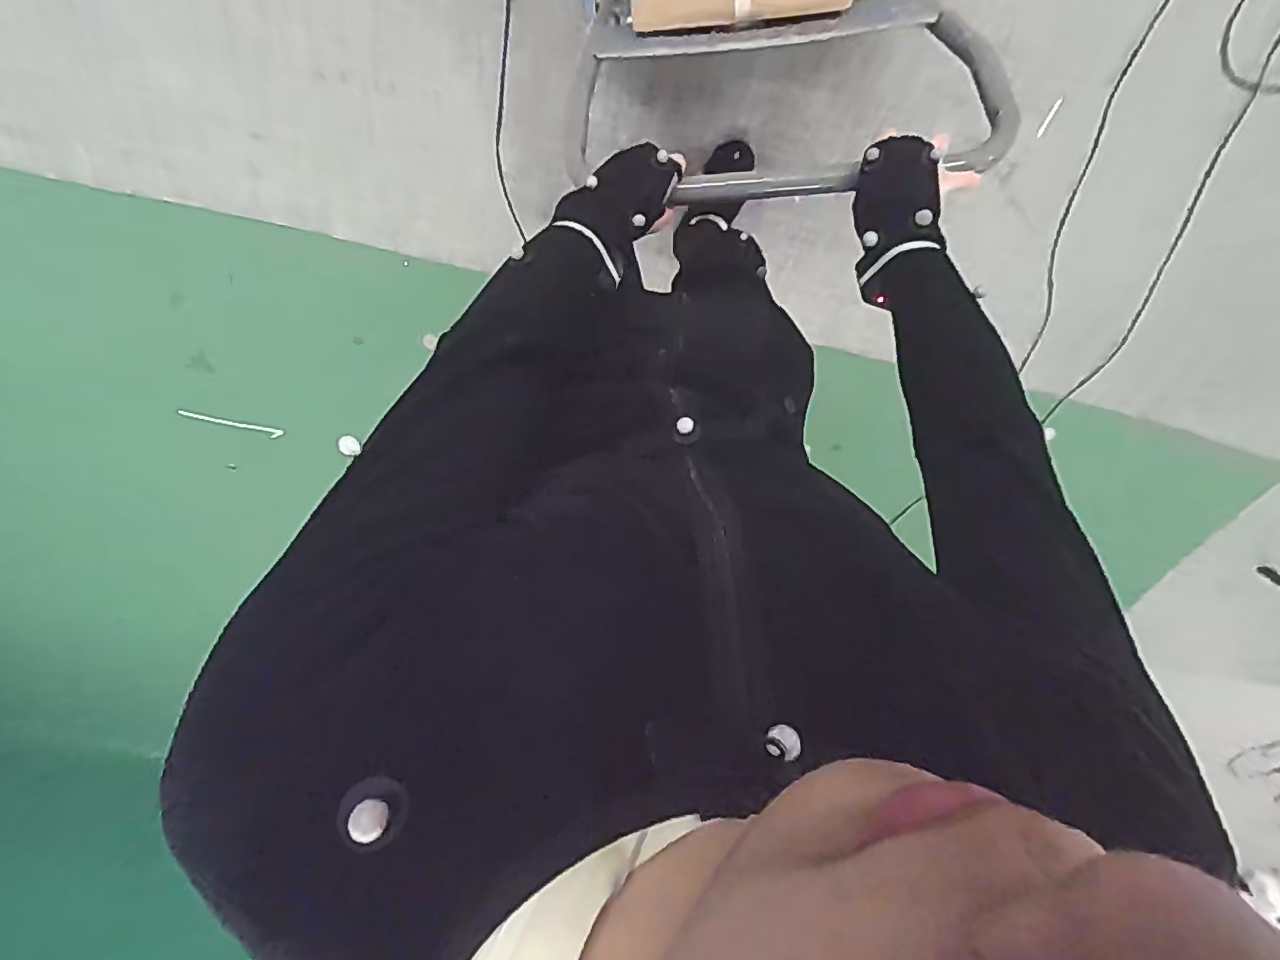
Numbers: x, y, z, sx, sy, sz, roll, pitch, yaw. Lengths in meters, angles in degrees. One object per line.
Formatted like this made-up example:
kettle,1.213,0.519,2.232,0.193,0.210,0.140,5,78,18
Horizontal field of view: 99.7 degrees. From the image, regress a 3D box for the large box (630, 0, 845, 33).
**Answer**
large box,0.132,-0.919,0.756,0.320,0.320,0.408,-2,136,6
